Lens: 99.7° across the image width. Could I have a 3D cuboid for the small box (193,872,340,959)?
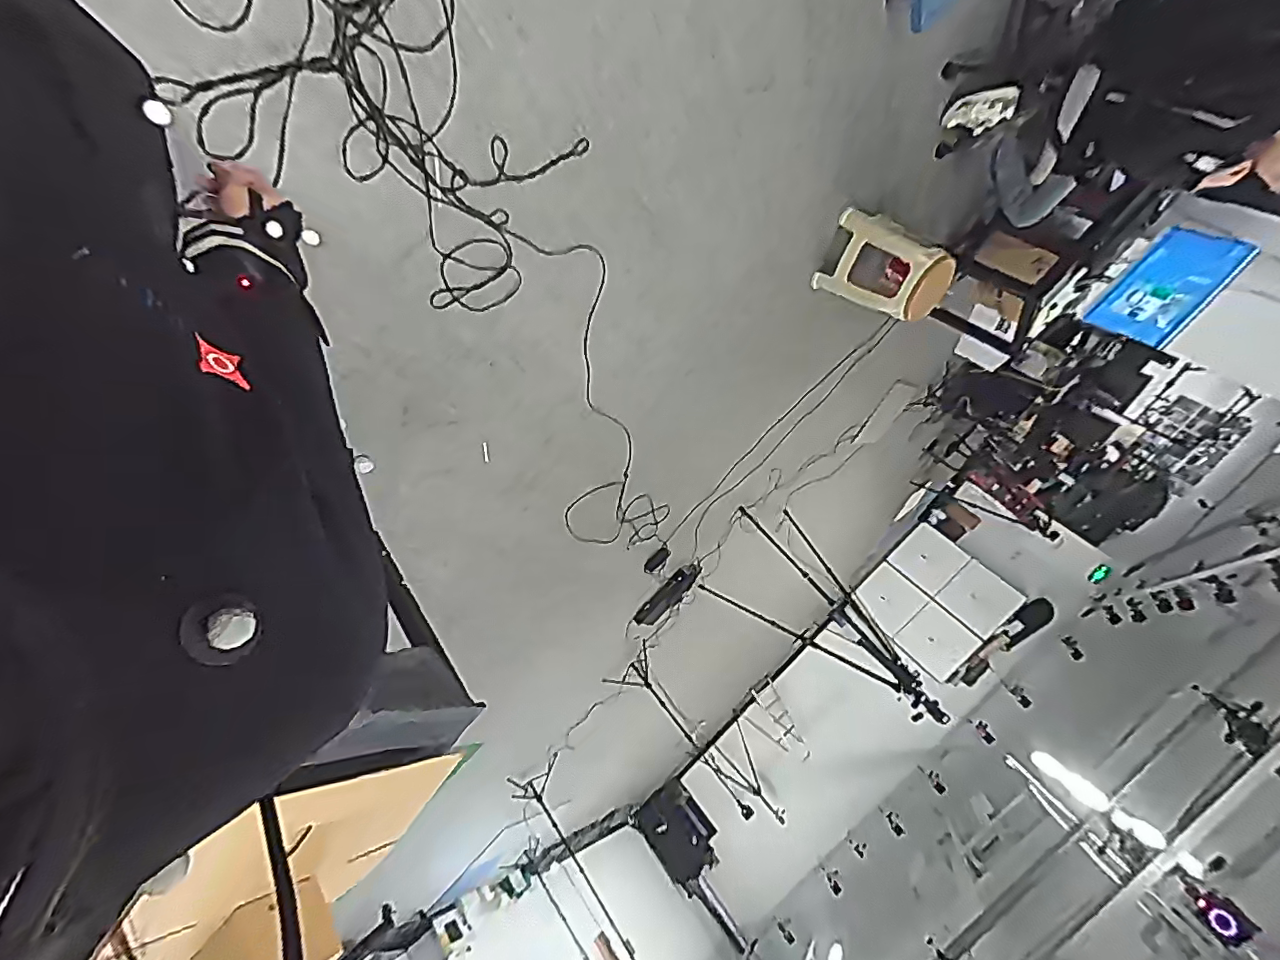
[{"bbox_3d":[-0.756,0.949,1.089,0.179,0.176,0.168,-49,153,7],"label":"small box"}]
